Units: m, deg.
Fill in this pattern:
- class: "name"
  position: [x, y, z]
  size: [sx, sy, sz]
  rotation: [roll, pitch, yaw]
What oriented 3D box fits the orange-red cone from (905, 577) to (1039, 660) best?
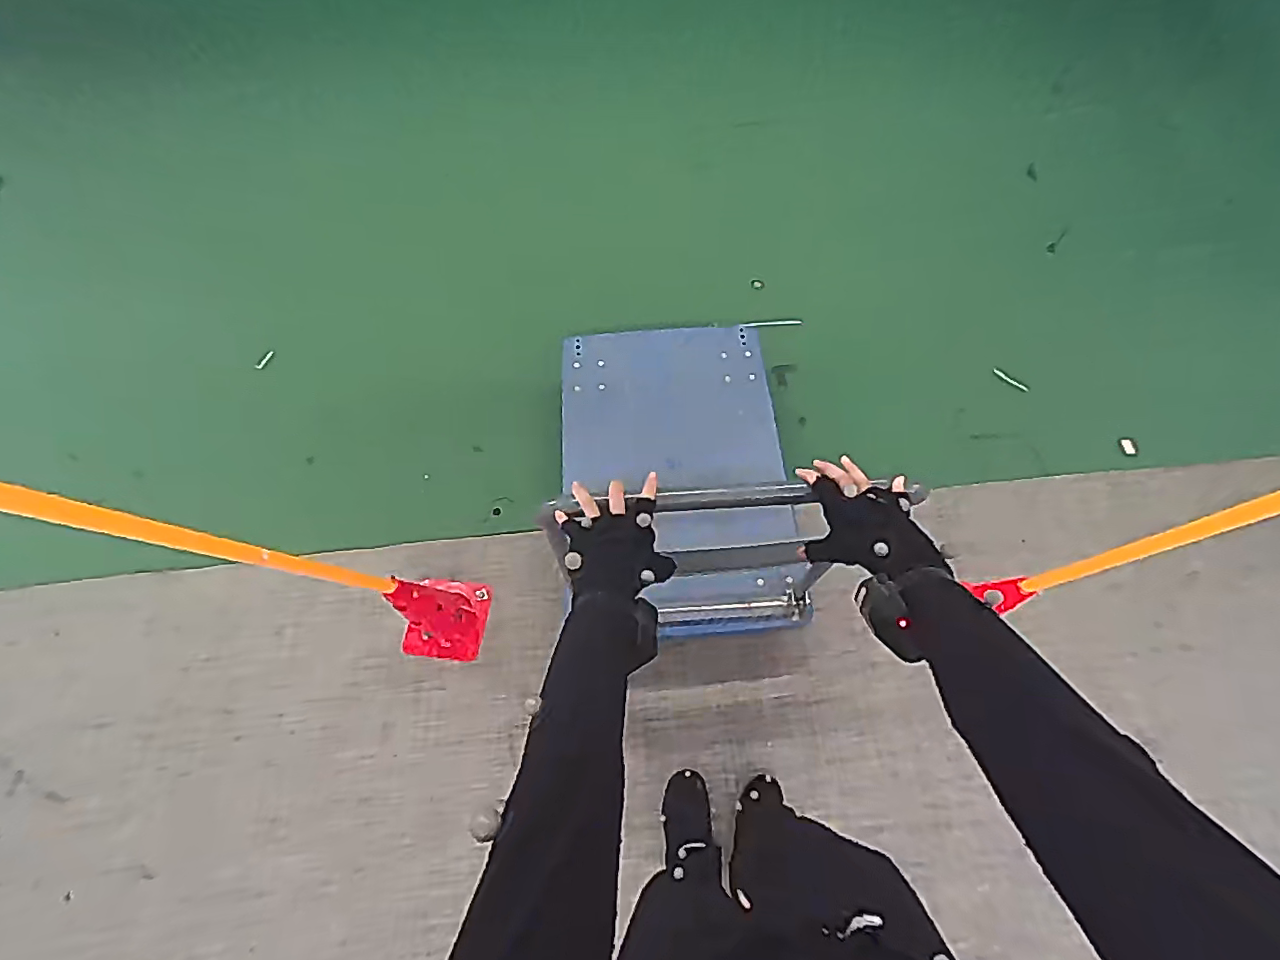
- class: "orange-red cone"
  position: [0.791, 0.289, 1.250]
  size: [0.198, 0.360, 0.199]
  rotation: [4, 66, 3]
